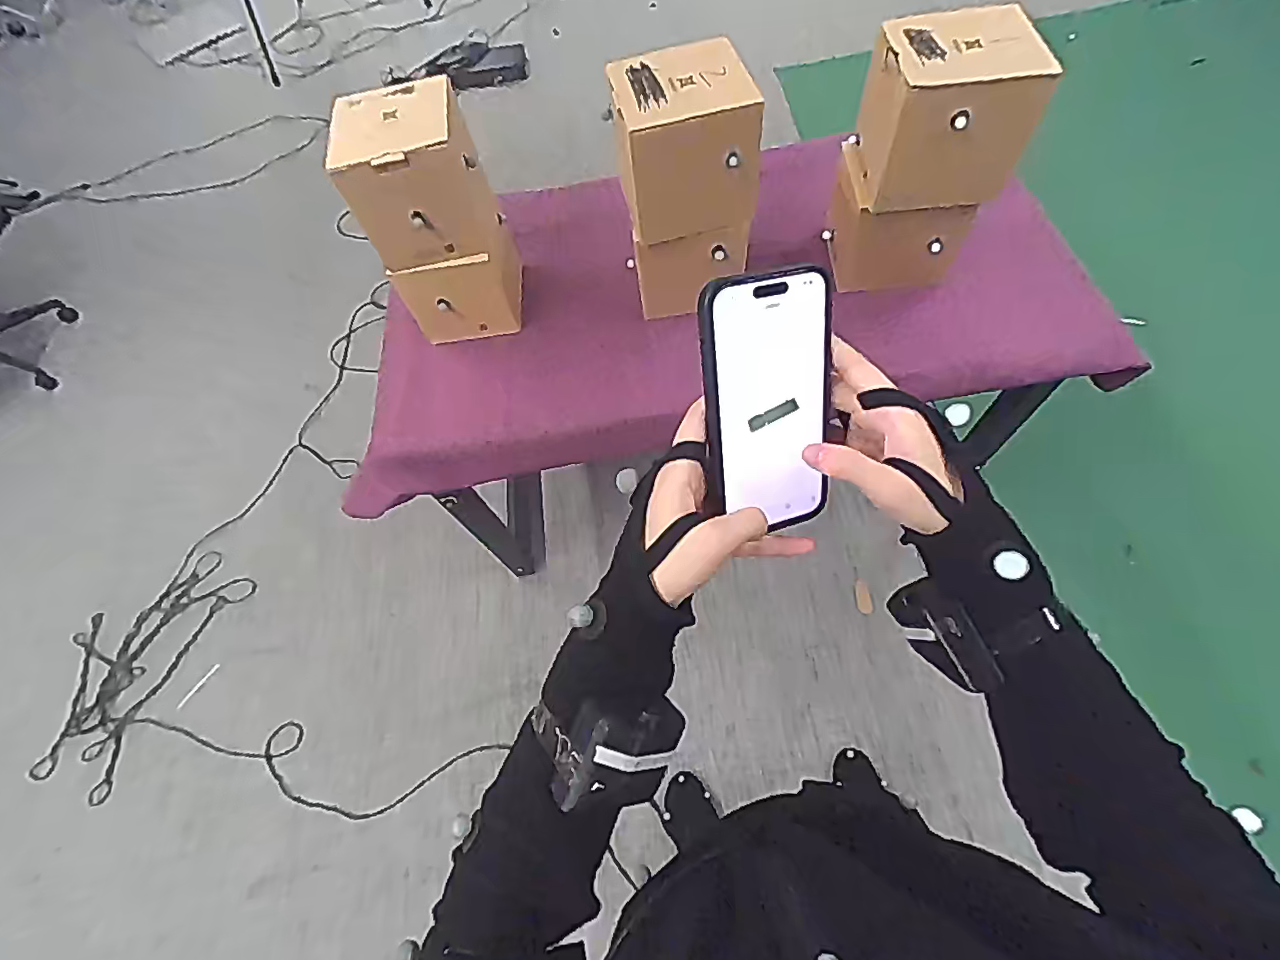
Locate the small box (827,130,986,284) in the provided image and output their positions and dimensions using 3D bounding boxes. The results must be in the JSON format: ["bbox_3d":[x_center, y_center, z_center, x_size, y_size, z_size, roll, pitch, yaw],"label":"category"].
[{"bbox_3d":[0.419,-0.446,0.883,0.179,0.176,0.168,-3,62,7],"label":"small box"}]

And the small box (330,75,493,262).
[{"bbox_3d":[-0.327,-0.449,0.805,0.168,0.176,0.179,-12,63,1],"label":"small box"}]

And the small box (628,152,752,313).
[{"bbox_3d":[0.082,-0.408,0.910,0.179,0.176,0.168,-9,62,4],"label":"small box"}]

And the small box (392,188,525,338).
[{"bbox_3d":[-0.305,-0.367,0.946,0.168,0.176,0.179,-8,62,4],"label":"small box"}]

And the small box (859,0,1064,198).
[{"bbox_3d":[0.409,-0.508,0.731,0.179,0.176,0.168,-3,62,6],"label":"small box"}]
